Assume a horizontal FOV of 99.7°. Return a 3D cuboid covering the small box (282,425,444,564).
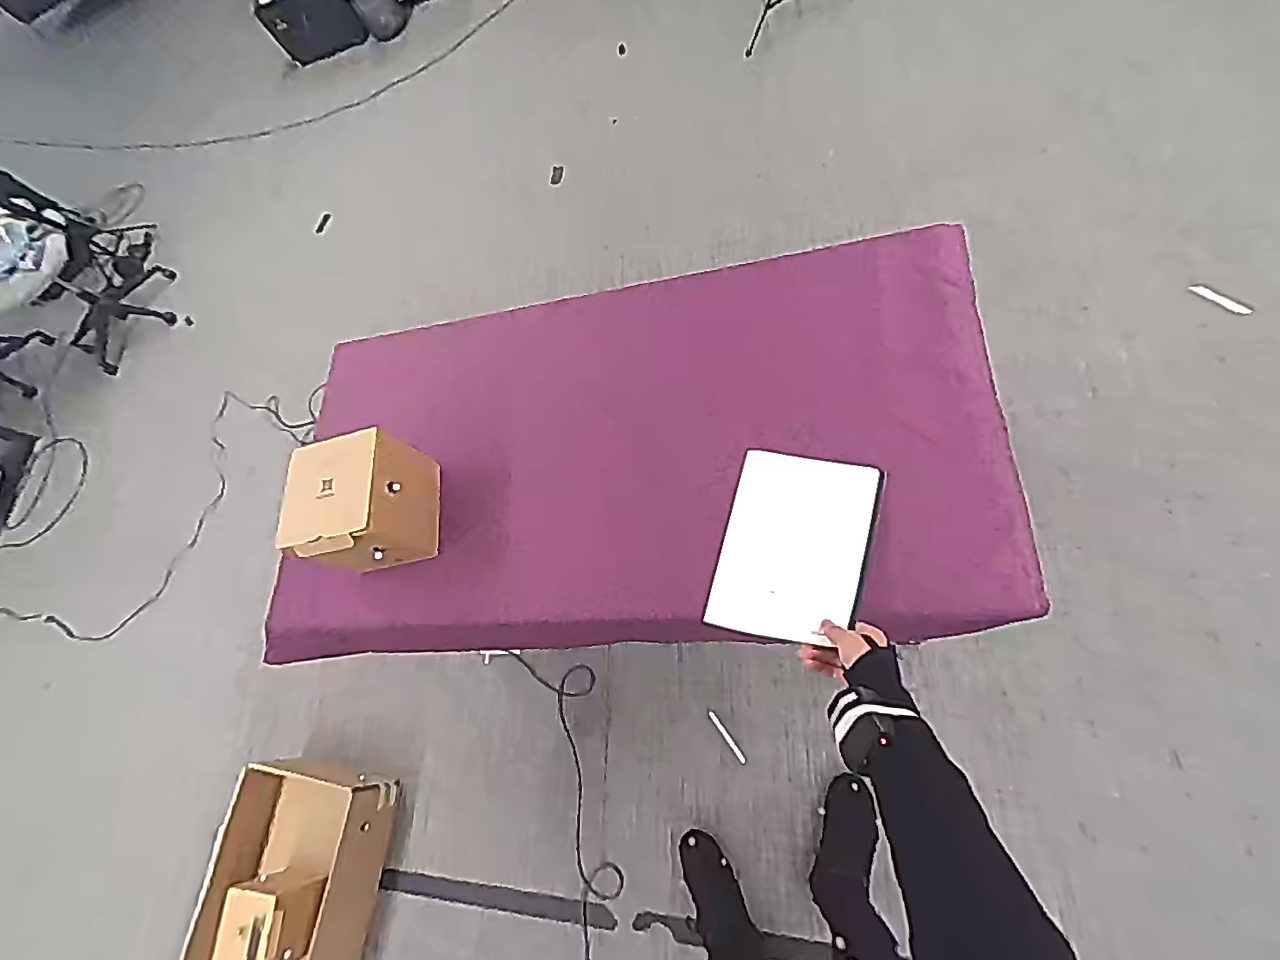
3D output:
[{"bbox_3d":[-0.449,0.036,0.903,0.168,0.176,0.179,-12,66,13],"label":"small box"}]
